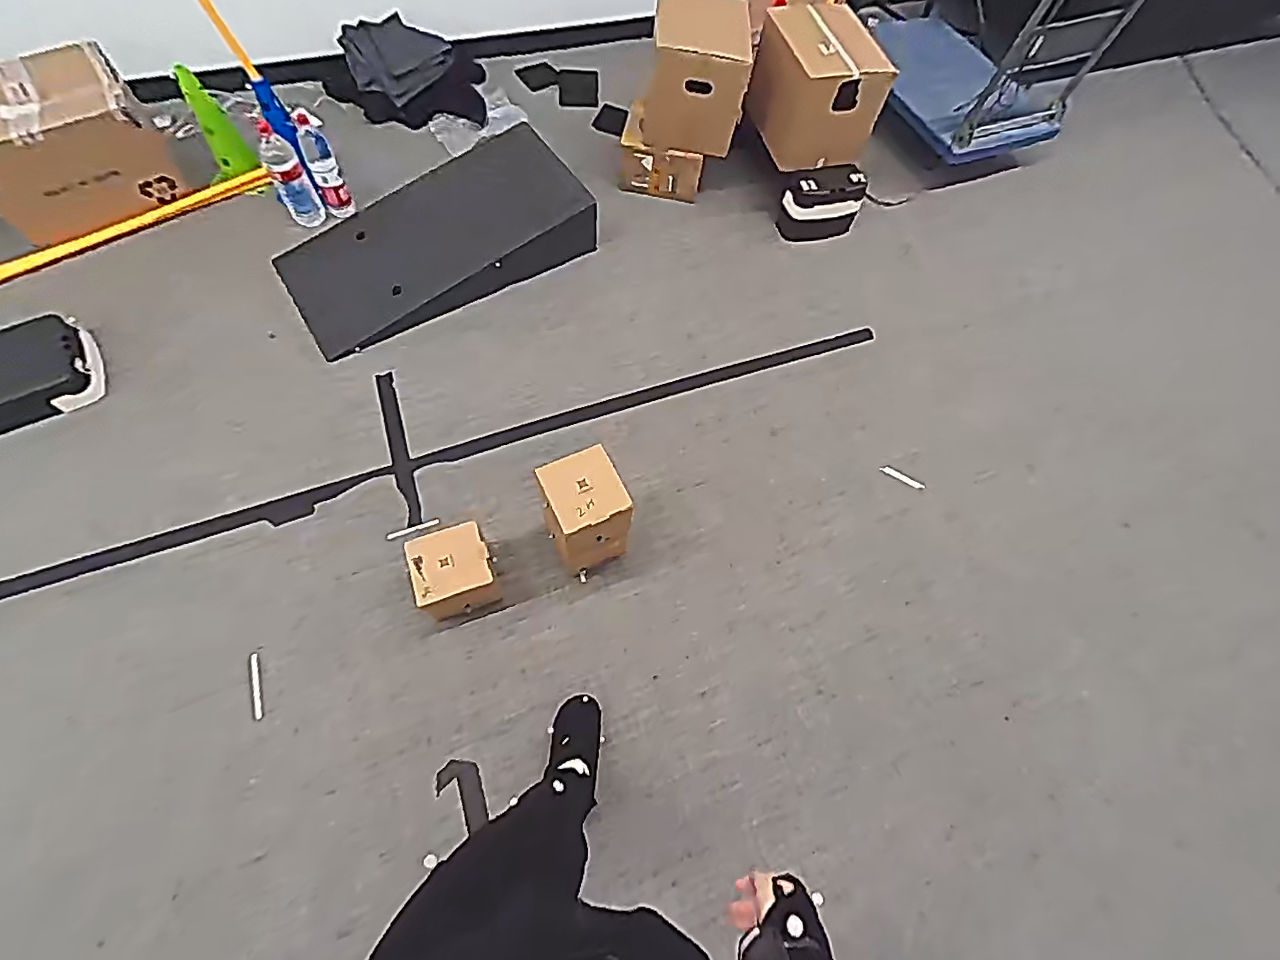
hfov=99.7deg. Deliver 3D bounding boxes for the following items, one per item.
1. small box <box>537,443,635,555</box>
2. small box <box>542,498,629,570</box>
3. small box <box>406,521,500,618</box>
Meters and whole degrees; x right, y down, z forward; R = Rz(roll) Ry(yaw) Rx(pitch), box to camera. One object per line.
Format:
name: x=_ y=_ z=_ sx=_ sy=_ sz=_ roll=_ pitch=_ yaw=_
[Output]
small box: x=-0.126 y=0.049 z=1.254 sx=0.168 sy=0.176 sz=0.179 roll=-23 pitch=69 yaw=-14
small box: x=-0.140 y=0.119 z=1.402 sx=0.168 sy=0.176 sz=0.179 roll=-24 pitch=68 yaw=-15
small box: x=-0.450 y=0.222 z=1.325 sx=0.179 sy=0.176 sz=0.168 roll=-17 pitch=67 yaw=-13
